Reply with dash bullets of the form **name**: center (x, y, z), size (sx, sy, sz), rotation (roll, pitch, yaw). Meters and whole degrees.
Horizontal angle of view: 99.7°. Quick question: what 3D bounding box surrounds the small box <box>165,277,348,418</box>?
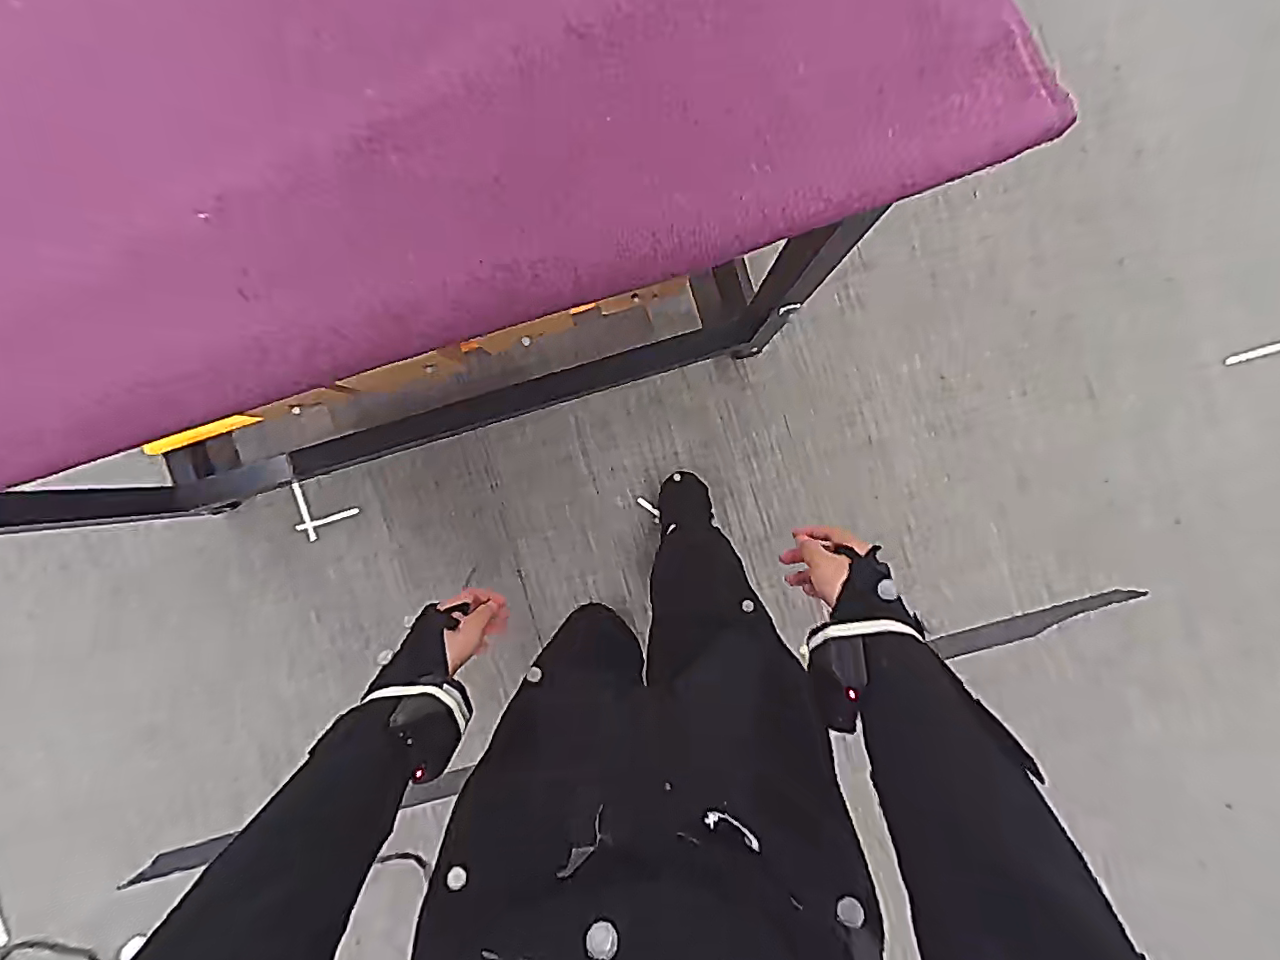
- **small box**: center (-0.638, -0.214, 0.922), size (0.168, 0.176, 0.179), rotation (-16, 93, 0)

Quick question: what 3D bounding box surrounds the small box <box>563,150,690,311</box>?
- **small box**: center (-0.021, -0.410, 0.915), size (0.168, 0.176, 0.179), rotation (-15, 93, 2)

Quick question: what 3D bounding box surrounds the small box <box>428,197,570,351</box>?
- **small box**: center (-0.229, -0.338, 0.921), size (0.168, 0.176, 0.179), rotation (-18, 94, 1)
